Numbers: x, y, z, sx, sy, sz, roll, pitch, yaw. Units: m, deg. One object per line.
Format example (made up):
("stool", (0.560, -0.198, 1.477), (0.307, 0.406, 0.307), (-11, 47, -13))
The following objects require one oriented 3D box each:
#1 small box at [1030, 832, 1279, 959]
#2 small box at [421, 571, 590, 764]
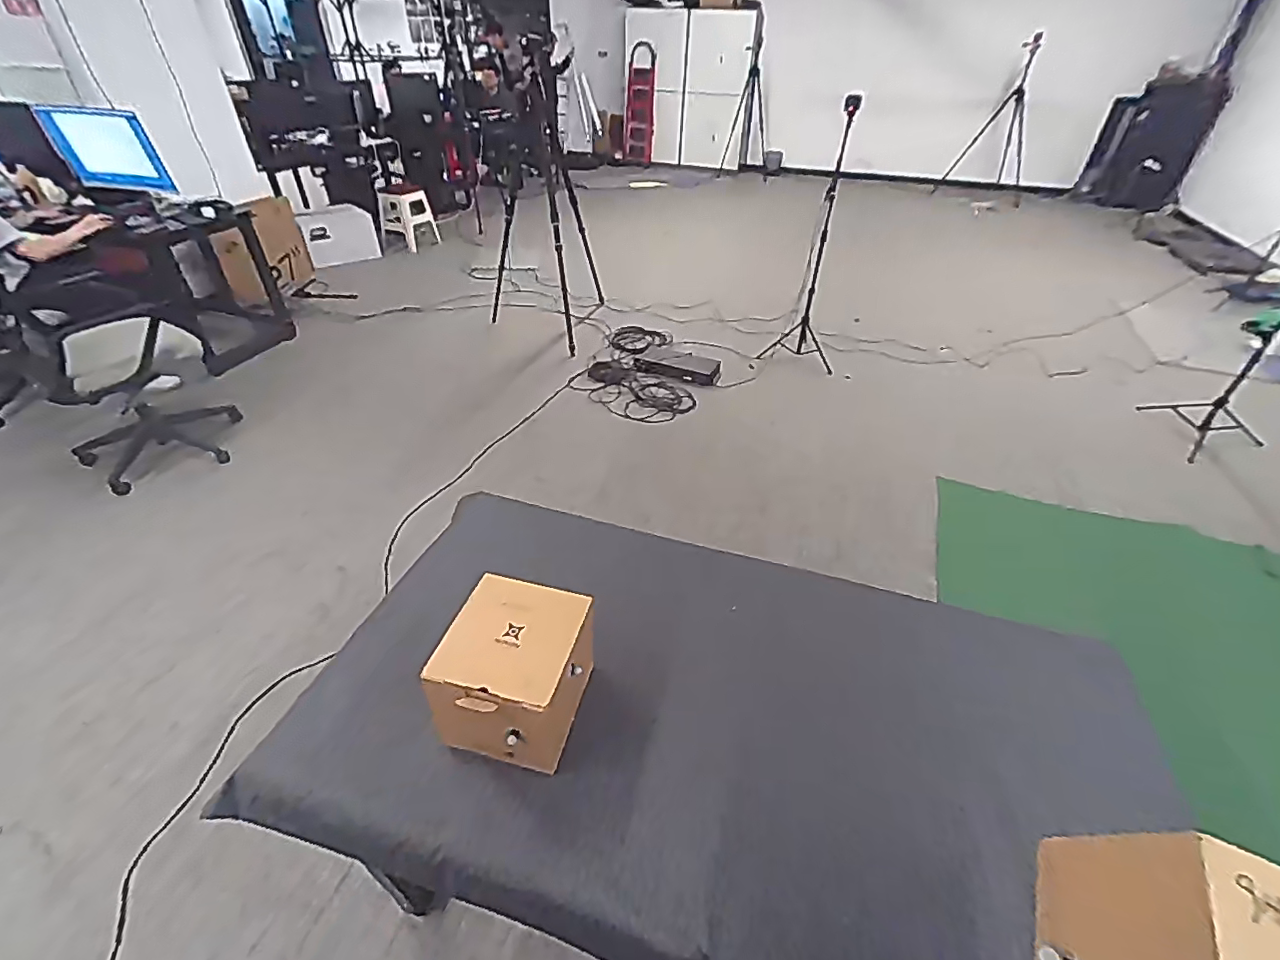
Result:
("small box", (0.386, 0.359, 0.347), (0.168, 0.176, 0.179), (21, 59, 12))
("small box", (-0.171, 0.260, 0.752), (0.168, 0.176, 0.179), (11, 38, 8))
